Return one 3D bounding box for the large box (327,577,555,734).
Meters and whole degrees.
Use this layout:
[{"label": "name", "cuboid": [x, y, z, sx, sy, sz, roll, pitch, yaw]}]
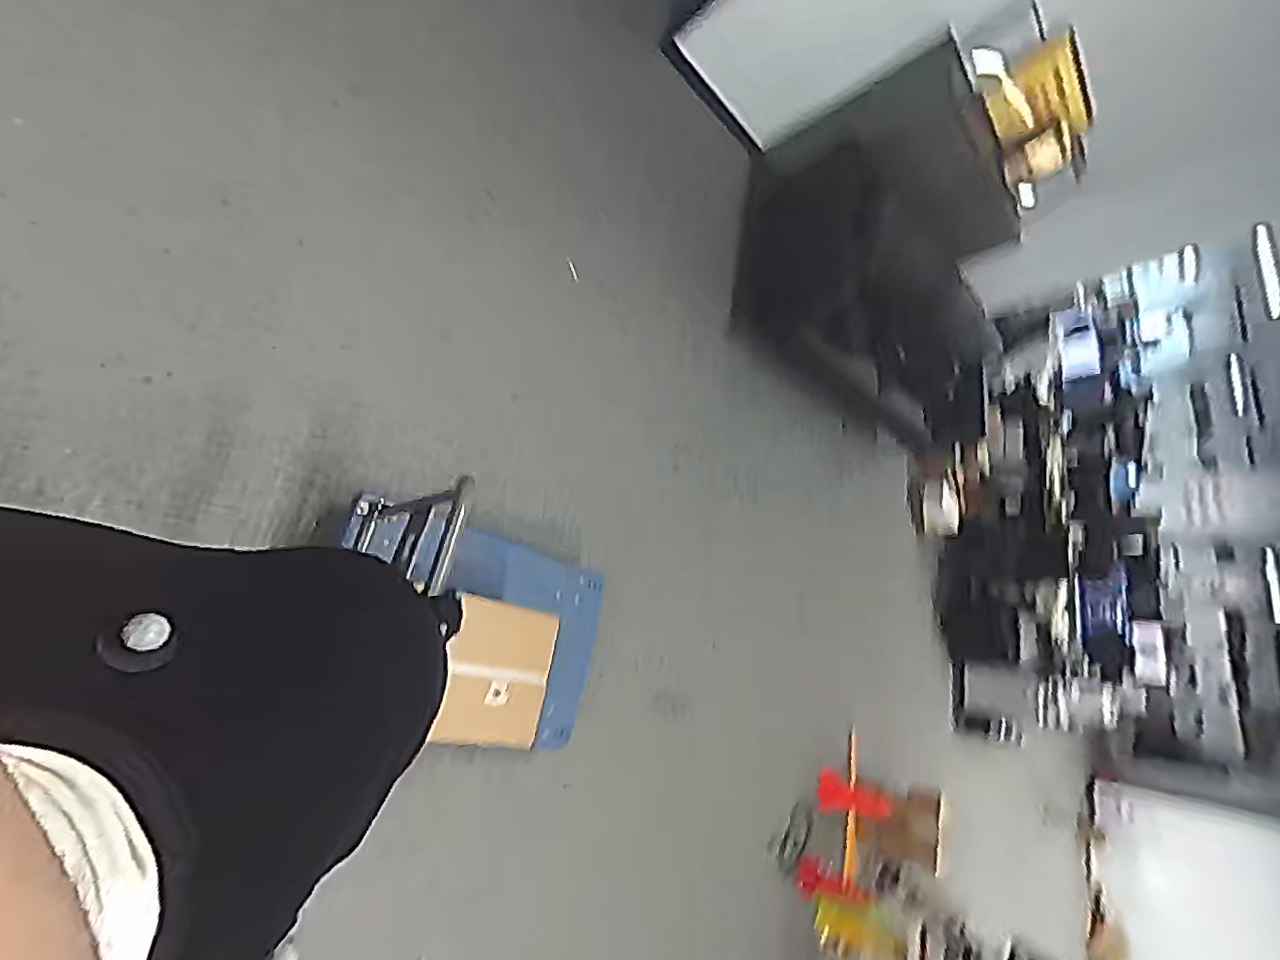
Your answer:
[{"label": "large box", "cuboid": [-0.491, 0.437, 1.364, 0.408, 0.320, 0.320, 28, 66, -39]}]
